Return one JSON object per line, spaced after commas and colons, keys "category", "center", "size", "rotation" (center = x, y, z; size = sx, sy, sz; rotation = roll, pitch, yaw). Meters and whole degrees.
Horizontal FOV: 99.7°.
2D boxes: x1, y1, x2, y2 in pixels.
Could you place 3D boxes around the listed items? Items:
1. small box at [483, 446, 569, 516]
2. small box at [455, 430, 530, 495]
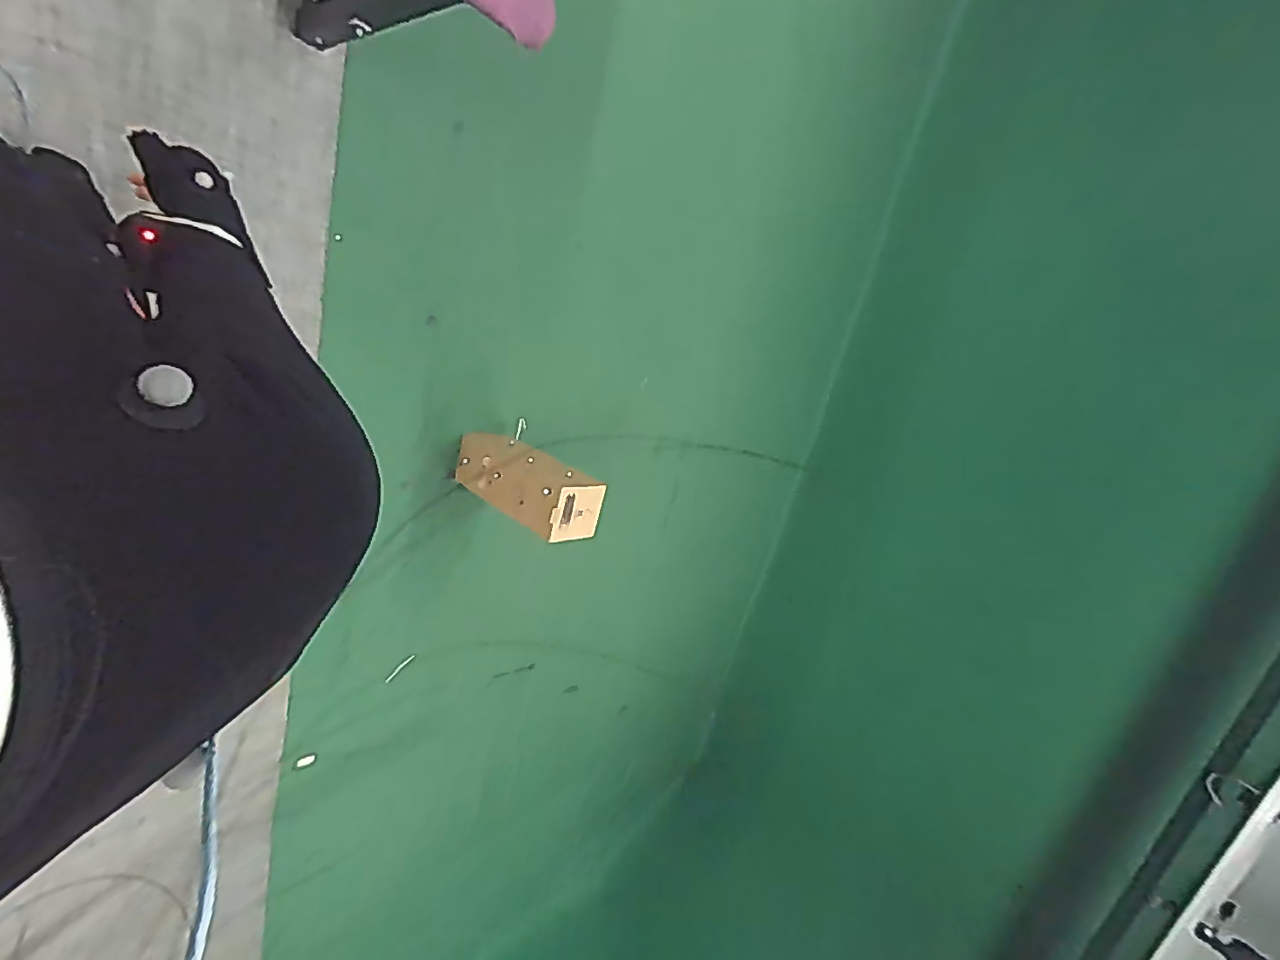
{"category": "small box", "center": [-0.354, -0.002, 1.669], "size": [0.179, 0.176, 0.168], "rotation": [-2, 113, -49]}
{"category": "small box", "center": [-0.472, -0.059, 1.765], "size": [0.179, 0.176, 0.168], "rotation": [0, 111, -50]}
